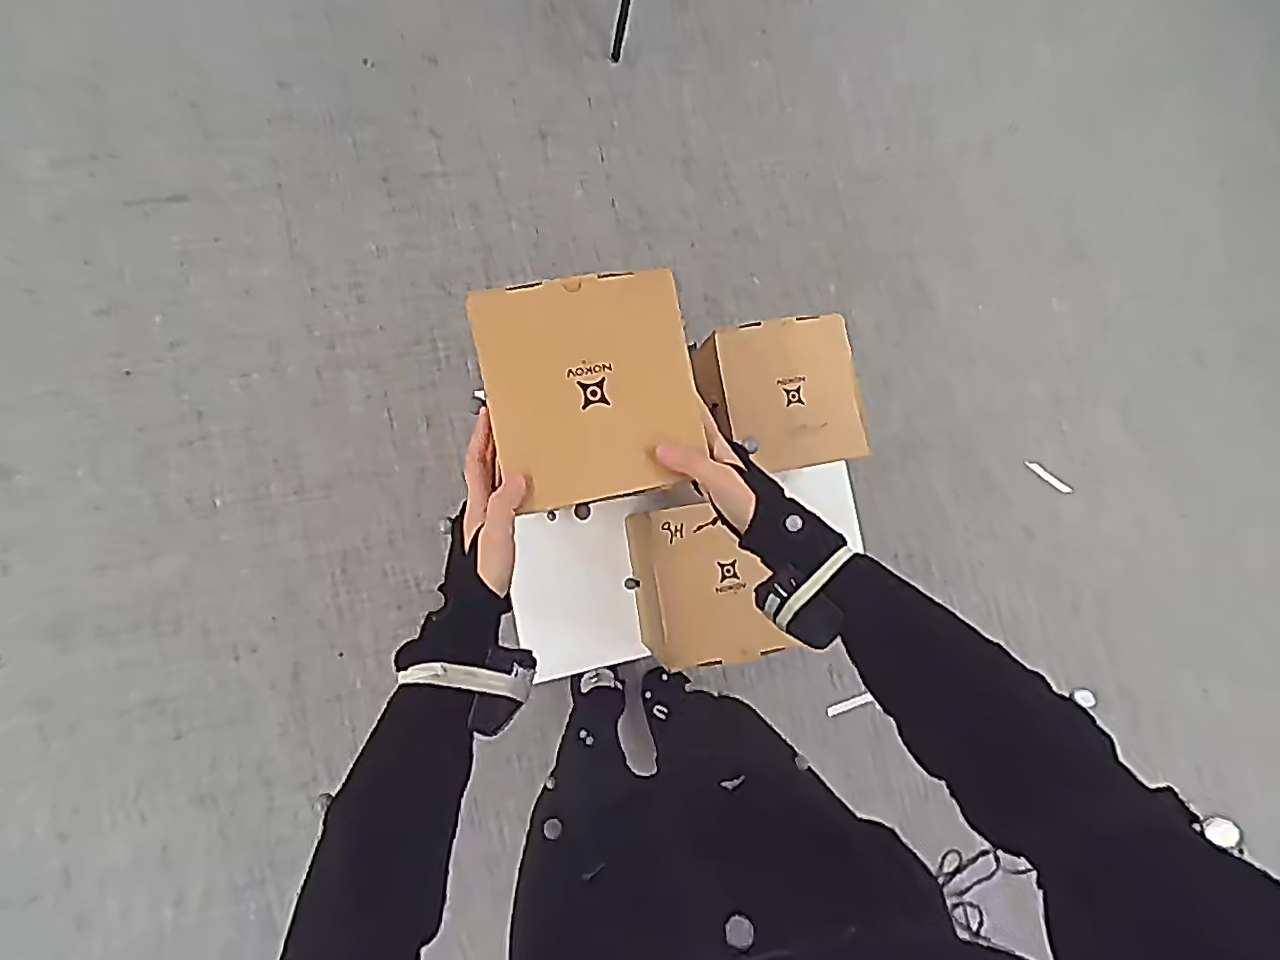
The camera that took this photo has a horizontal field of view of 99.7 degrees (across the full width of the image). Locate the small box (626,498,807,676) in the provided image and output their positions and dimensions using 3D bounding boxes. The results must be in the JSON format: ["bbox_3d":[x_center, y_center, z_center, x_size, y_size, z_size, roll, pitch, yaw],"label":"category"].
[{"bbox_3d":[0.083,0.120,0.672,0.168,0.176,0.179,-8,86,-11],"label":"small box"}]

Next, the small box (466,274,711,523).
[{"bbox_3d":[-0.051,-0.063,0.500,0.168,0.176,0.179,-12,88,-11],"label":"small box"}]

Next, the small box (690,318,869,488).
[{"bbox_3d":[0.165,-0.091,0.708,0.168,0.176,0.179,-11,89,-9],"label":"small box"}]
